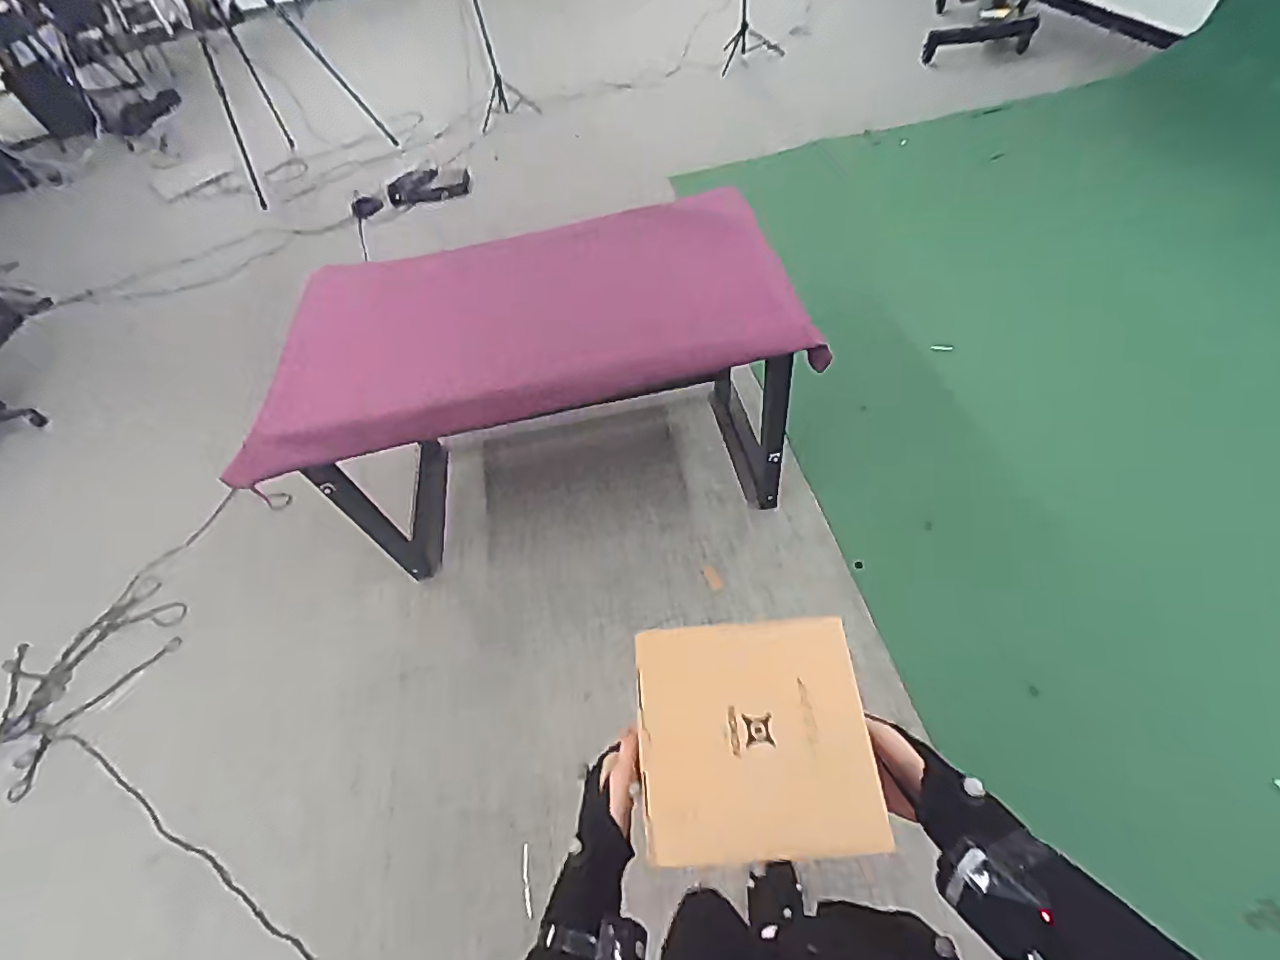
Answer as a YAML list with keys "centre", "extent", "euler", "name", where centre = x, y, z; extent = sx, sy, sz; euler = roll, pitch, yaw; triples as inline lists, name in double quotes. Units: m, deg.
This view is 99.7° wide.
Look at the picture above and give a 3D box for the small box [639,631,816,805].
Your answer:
- centre: [0.090, 0.279, 0.636]
  extent: [0.179, 0.176, 0.168]
  euler: [-1, 62, 3]
  name: "small box"
